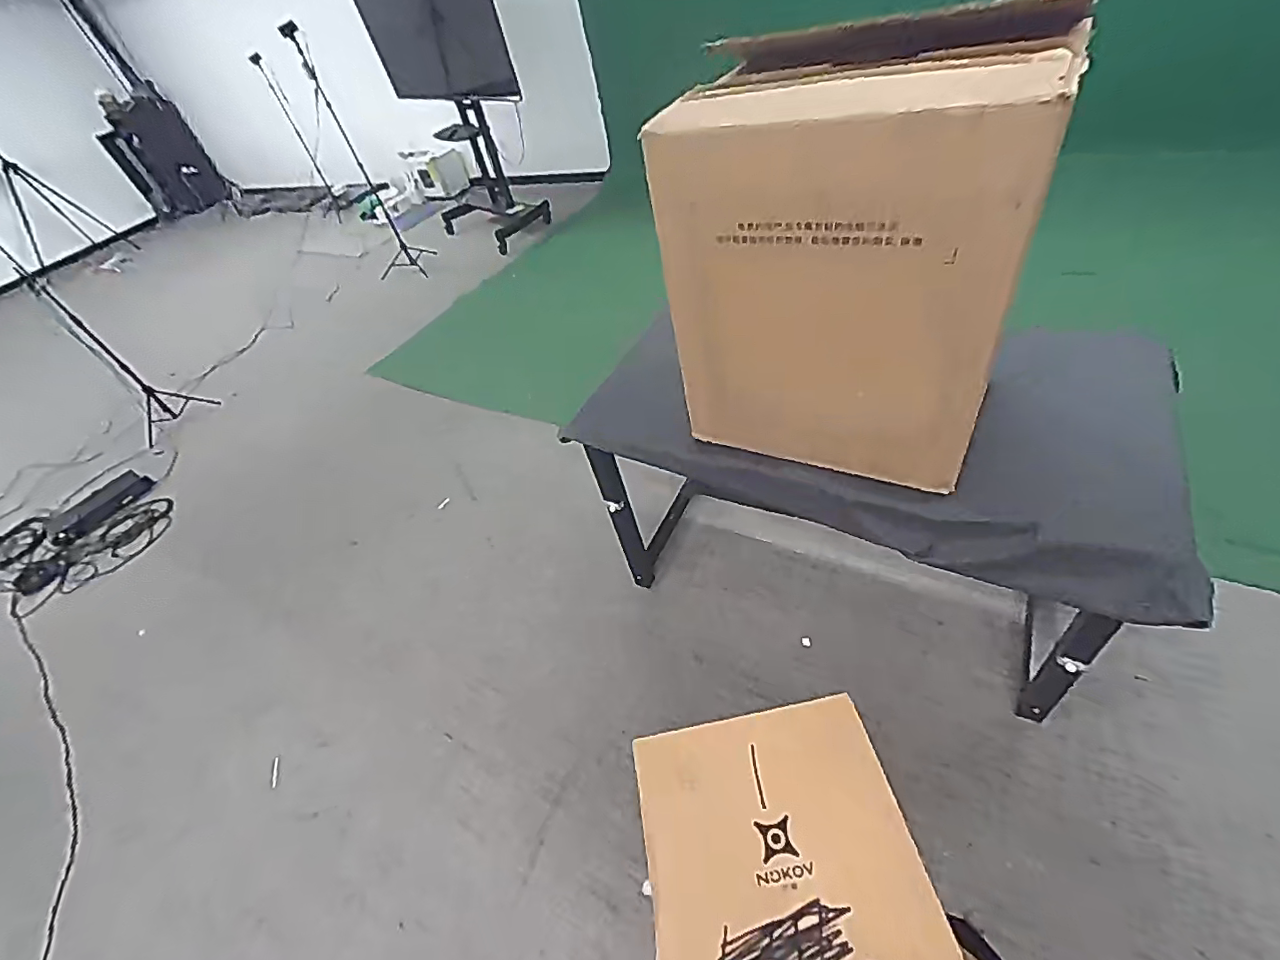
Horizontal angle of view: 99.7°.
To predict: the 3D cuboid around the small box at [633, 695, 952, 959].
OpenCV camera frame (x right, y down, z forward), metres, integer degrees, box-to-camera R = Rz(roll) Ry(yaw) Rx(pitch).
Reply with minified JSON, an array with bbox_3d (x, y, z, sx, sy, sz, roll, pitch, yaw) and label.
[{"bbox_3d":[0.097,0.289,0.397,0.168,0.176,0.179,-12,44,1],"label":"small box"}]
